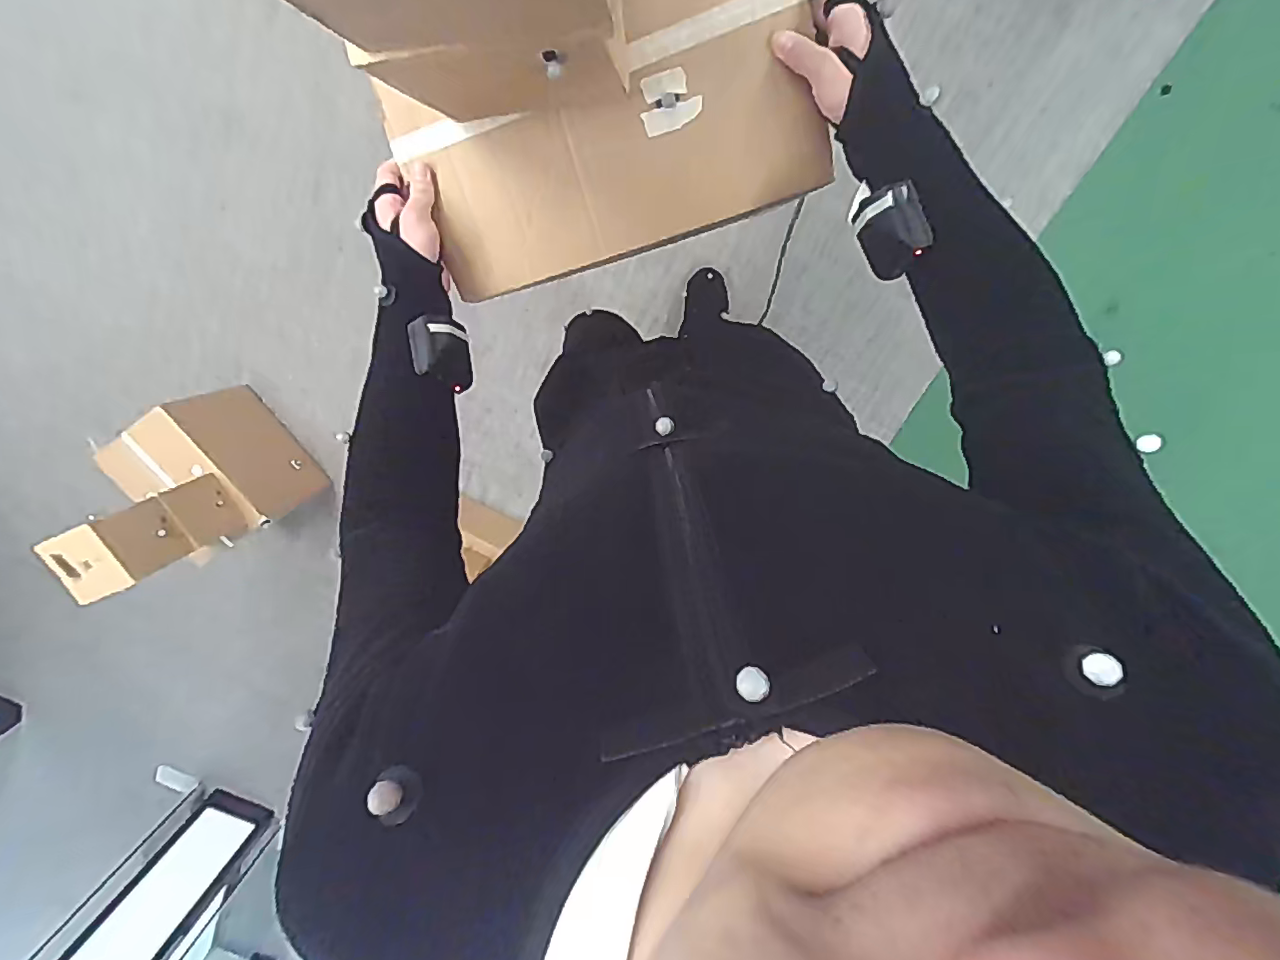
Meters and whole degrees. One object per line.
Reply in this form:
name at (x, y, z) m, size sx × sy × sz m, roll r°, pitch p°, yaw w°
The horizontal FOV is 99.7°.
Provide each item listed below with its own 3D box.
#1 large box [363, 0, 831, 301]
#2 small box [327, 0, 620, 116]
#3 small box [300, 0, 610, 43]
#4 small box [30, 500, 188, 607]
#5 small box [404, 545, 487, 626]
large box at (-0.040, -0.435, 0.634) m, size 0.408 × 0.320 × 0.320 m, roll -14°, pitch 112°, yaw 10°
small box at (-0.117, -0.389, 0.396) m, size 0.179 × 0.176 × 0.168 m, roll -3°, pitch 112°, yaw 6°
small box at (-0.112, -0.326, 0.244) m, size 0.179 × 0.176 × 0.168 m, roll 1°, pitch 113°, yaw 4°
small box at (-1.254, 0.170, 1.292) m, size 0.179 × 0.176 × 0.168 m, roll -20°, pitch 108°, yaw 11°
small box at (-0.621, 0.331, 1.742) m, size 0.179 × 0.176 × 0.168 m, roll 23°, pitch 111°, yaw -3°
